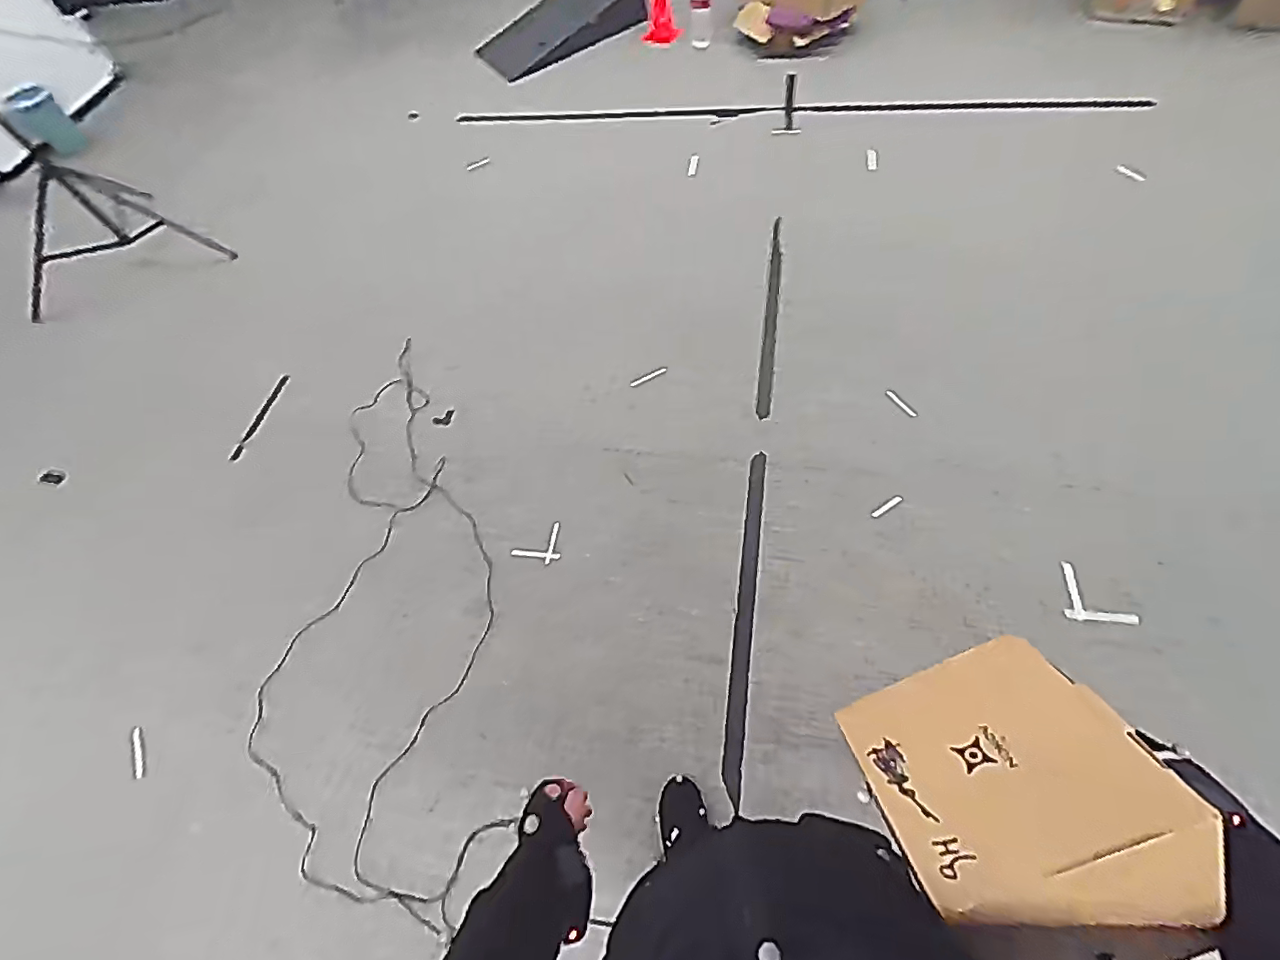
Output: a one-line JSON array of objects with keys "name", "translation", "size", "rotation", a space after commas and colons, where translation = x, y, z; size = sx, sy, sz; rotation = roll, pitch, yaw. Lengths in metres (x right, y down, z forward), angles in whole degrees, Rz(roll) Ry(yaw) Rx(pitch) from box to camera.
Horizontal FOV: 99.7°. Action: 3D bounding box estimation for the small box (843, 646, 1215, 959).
[{"name": "small box", "translation": [0.300, 0.277, 0.442], "size": [0.179, 0.176, 0.168], "rotation": [-25, 22, 7]}]
